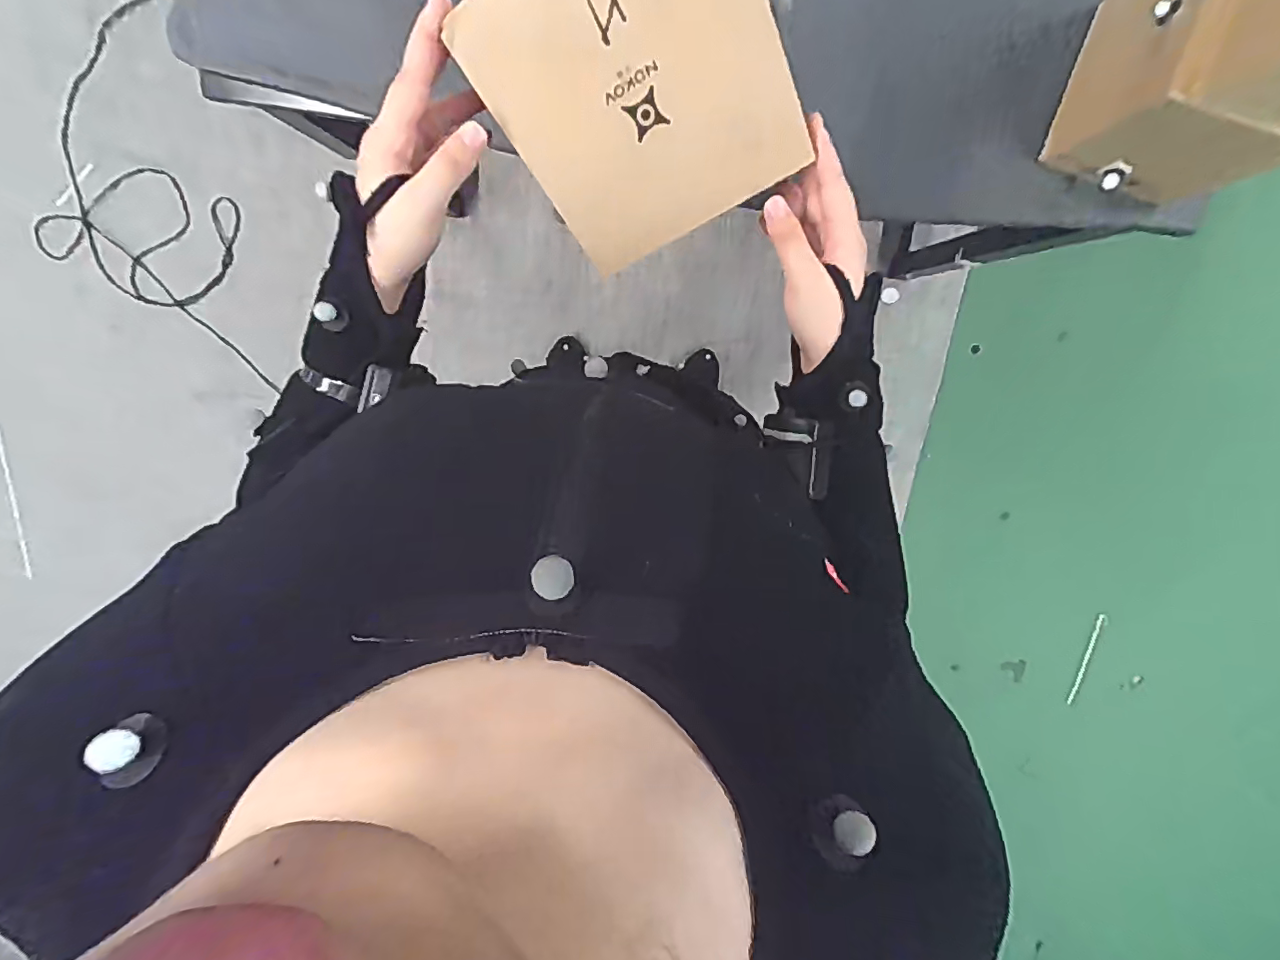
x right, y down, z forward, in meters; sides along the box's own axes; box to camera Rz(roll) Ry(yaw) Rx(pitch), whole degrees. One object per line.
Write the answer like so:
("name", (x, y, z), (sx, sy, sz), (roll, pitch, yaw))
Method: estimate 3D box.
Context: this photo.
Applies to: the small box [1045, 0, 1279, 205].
("small box", (0.567, -0.413, 0.547), (0.168, 0.176, 0.179), (16, 102, -2))
